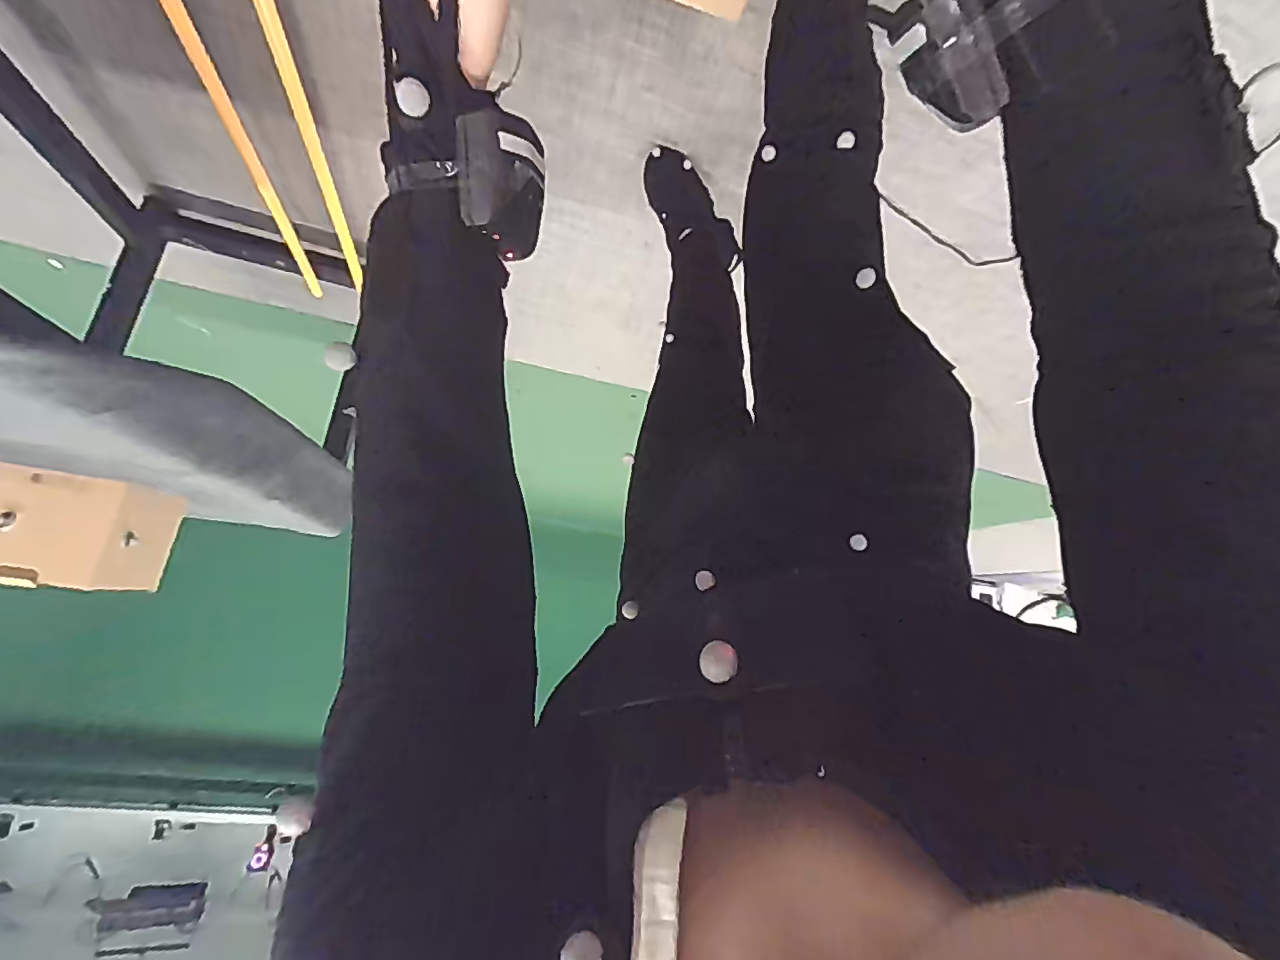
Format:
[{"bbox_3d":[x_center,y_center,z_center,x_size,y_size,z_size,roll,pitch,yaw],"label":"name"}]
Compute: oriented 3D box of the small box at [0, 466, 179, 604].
[{"bbox_3d":[-0.841,0.087,0.800,0.168,0.176,0.179,12,164,-14],"label":"small box"}]
